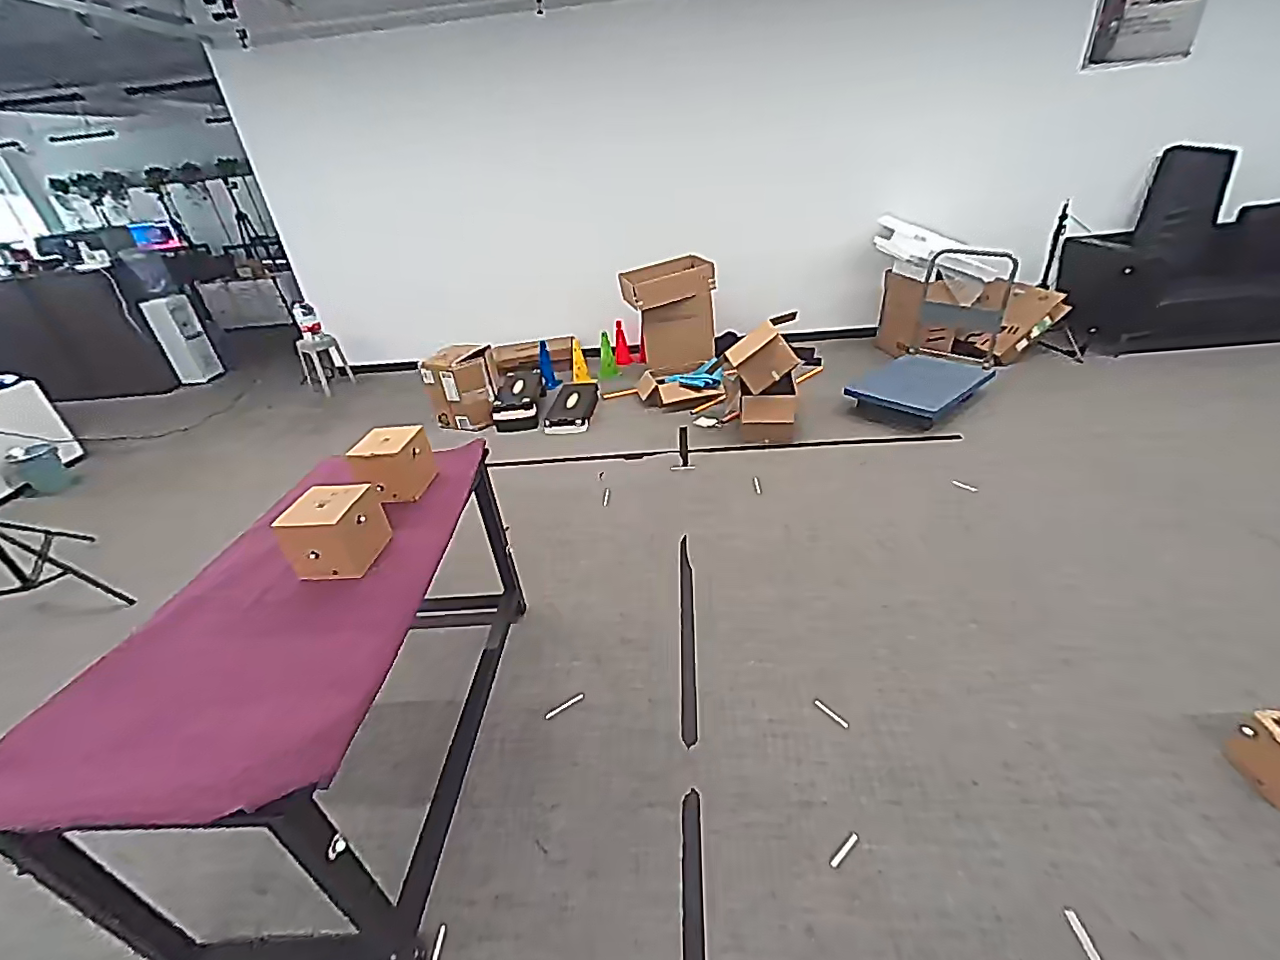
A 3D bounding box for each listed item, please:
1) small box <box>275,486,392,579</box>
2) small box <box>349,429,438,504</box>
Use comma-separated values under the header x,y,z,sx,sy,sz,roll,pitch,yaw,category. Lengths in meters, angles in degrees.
x,y,z,sx,sy,sz,roll,pitch,yaw,category
-0.754,0.133,1.354,0.168,0.176,0.179,-2,31,6,small box
-0.736,-0.041,1.641,0.168,0.176,0.179,-3,32,7,small box
